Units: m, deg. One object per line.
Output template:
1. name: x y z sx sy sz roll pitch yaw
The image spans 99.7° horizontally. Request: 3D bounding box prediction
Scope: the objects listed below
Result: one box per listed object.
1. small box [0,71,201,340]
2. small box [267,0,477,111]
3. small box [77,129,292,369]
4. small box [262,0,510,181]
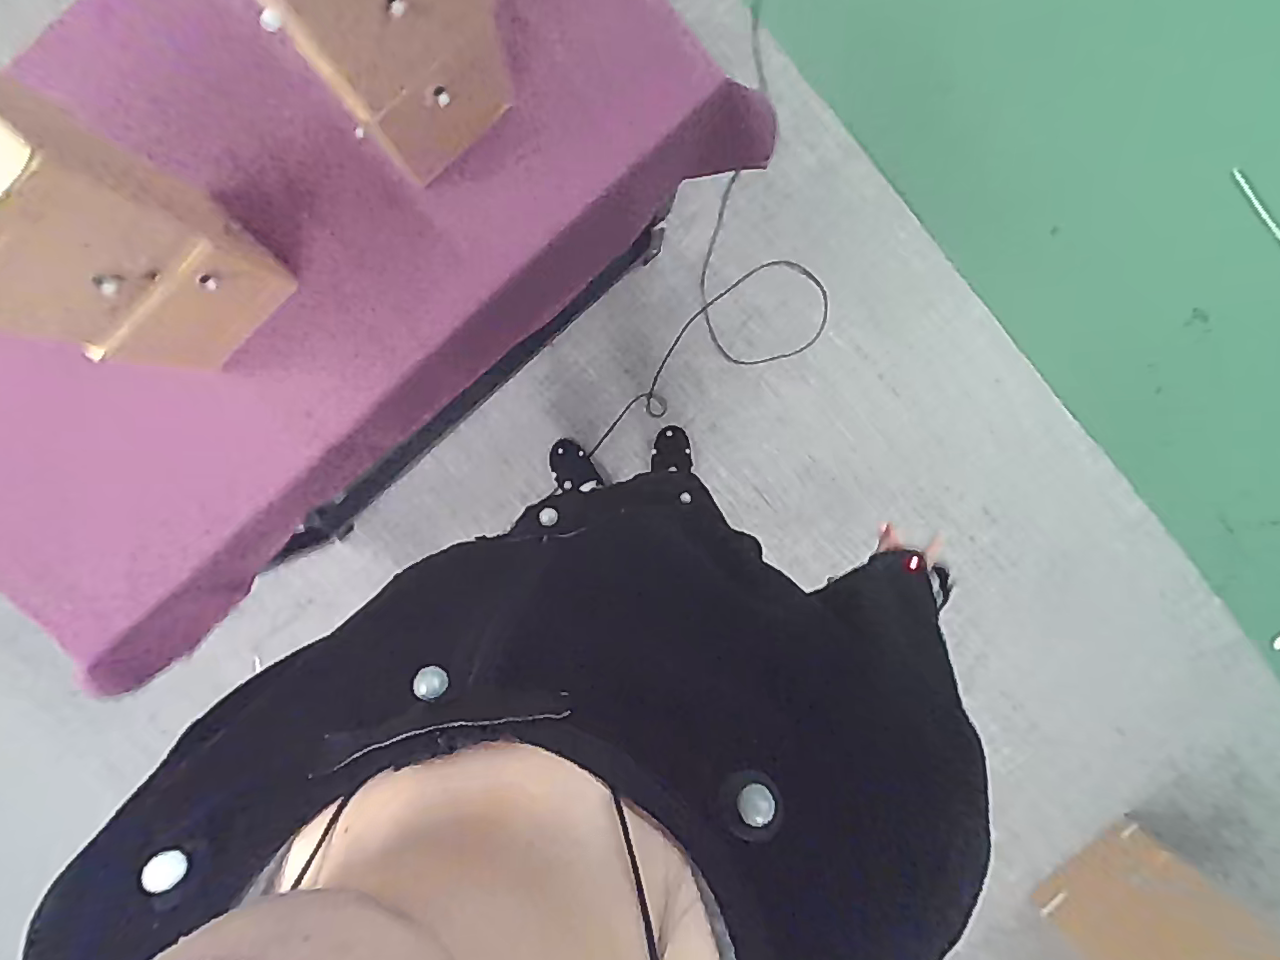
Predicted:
1. small box: -0.565 -0.249 0.479 0.179 0.176 0.168 44 92 -6
2. small box: -0.264 -0.486 0.473 0.179 0.176 0.168 -41 97 2
3. small box: -0.571 -0.253 0.645 0.168 0.176 0.179 44 91 -6
4. small box: -0.277 -0.500 0.636 0.179 0.176 0.168 -42 97 1
